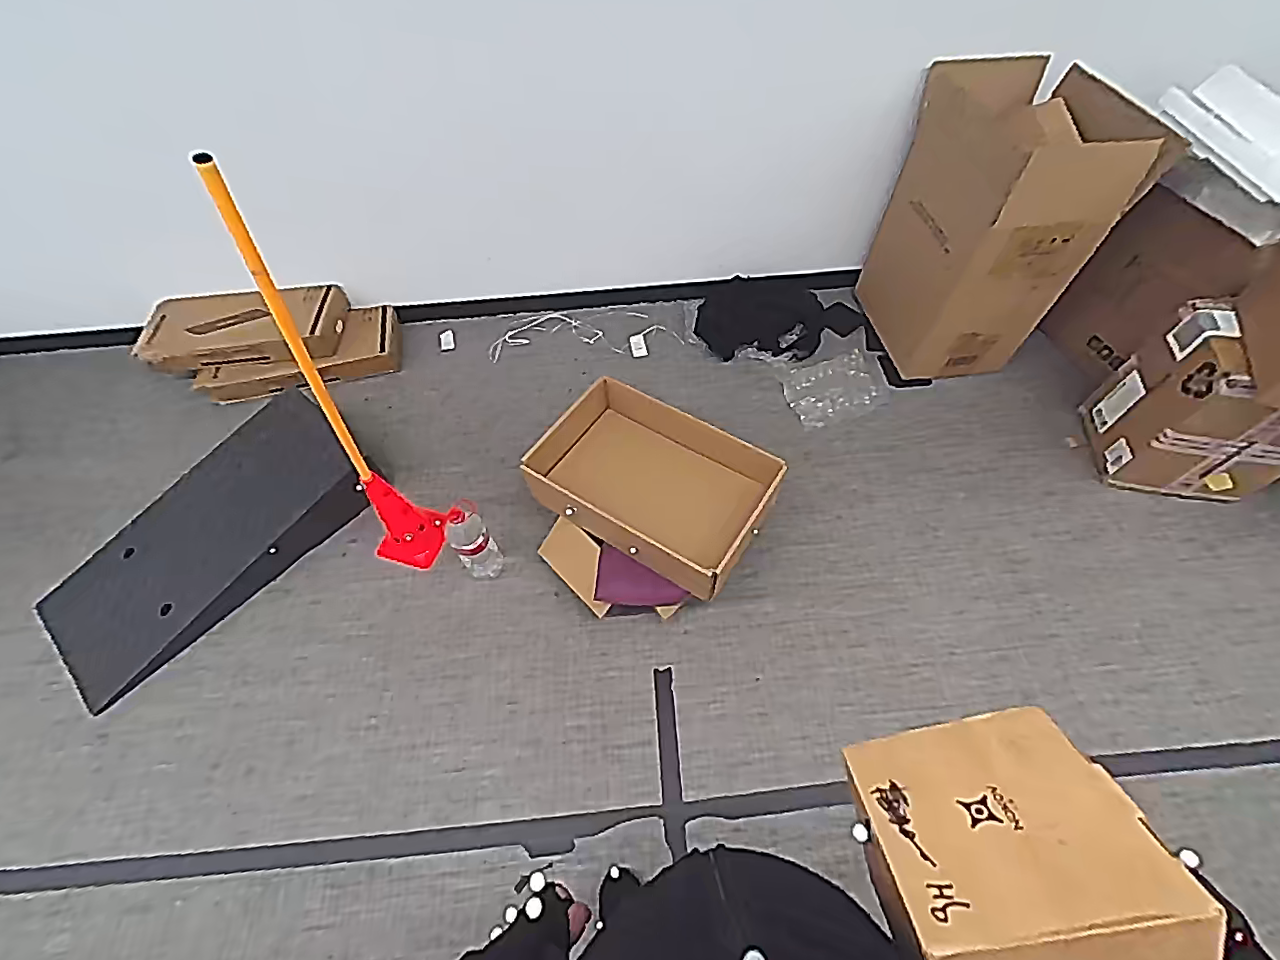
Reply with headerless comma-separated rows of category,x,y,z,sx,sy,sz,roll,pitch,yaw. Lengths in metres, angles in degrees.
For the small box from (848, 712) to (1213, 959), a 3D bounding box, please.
small box,0.293,0.328,0.441,0.179,0.176,0.168,-15,18,7
